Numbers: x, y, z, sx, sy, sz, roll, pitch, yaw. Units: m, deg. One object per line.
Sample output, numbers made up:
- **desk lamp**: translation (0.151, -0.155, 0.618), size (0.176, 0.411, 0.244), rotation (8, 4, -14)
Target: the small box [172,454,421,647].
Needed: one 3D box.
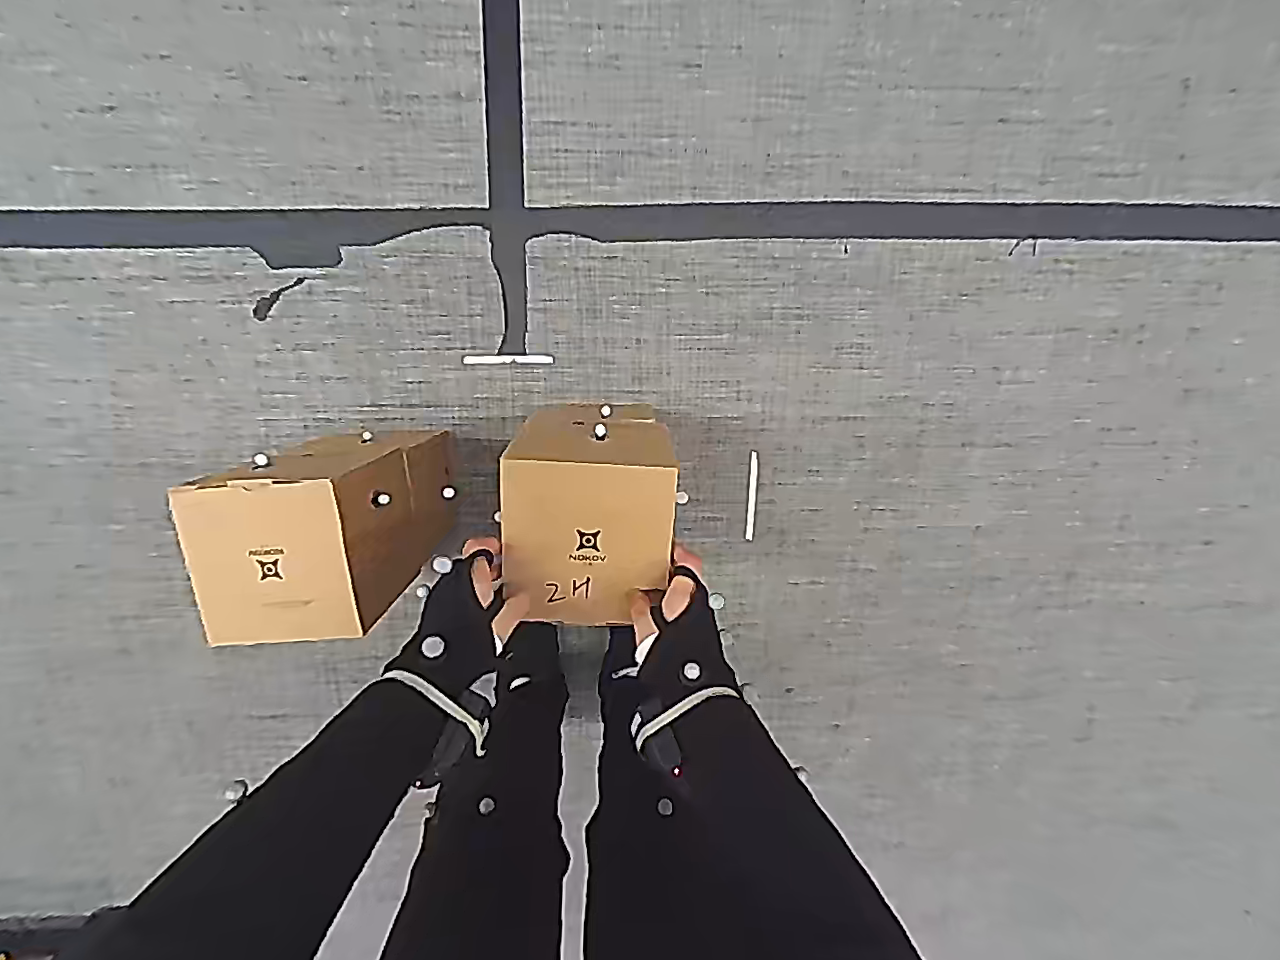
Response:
- **small box**: translation (-0.378, 0.070, 0.631), size (0.168, 0.176, 0.179), rotation (-4, 105, 1)

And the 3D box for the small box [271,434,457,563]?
- **small box**: translation (-0.386, 0.028, 0.788), size (0.179, 0.176, 0.168), rotation (-3, 104, -2)

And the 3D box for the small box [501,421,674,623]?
- **small box**: translation (-0.057, 0.037, 0.605), size (0.168, 0.176, 0.179), rotation (3, 110, -2)

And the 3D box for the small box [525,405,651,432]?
- **small box**: translation (-0.068, -0.011, 0.791), size (0.168, 0.176, 0.179), rotation (-1, 105, -2)
